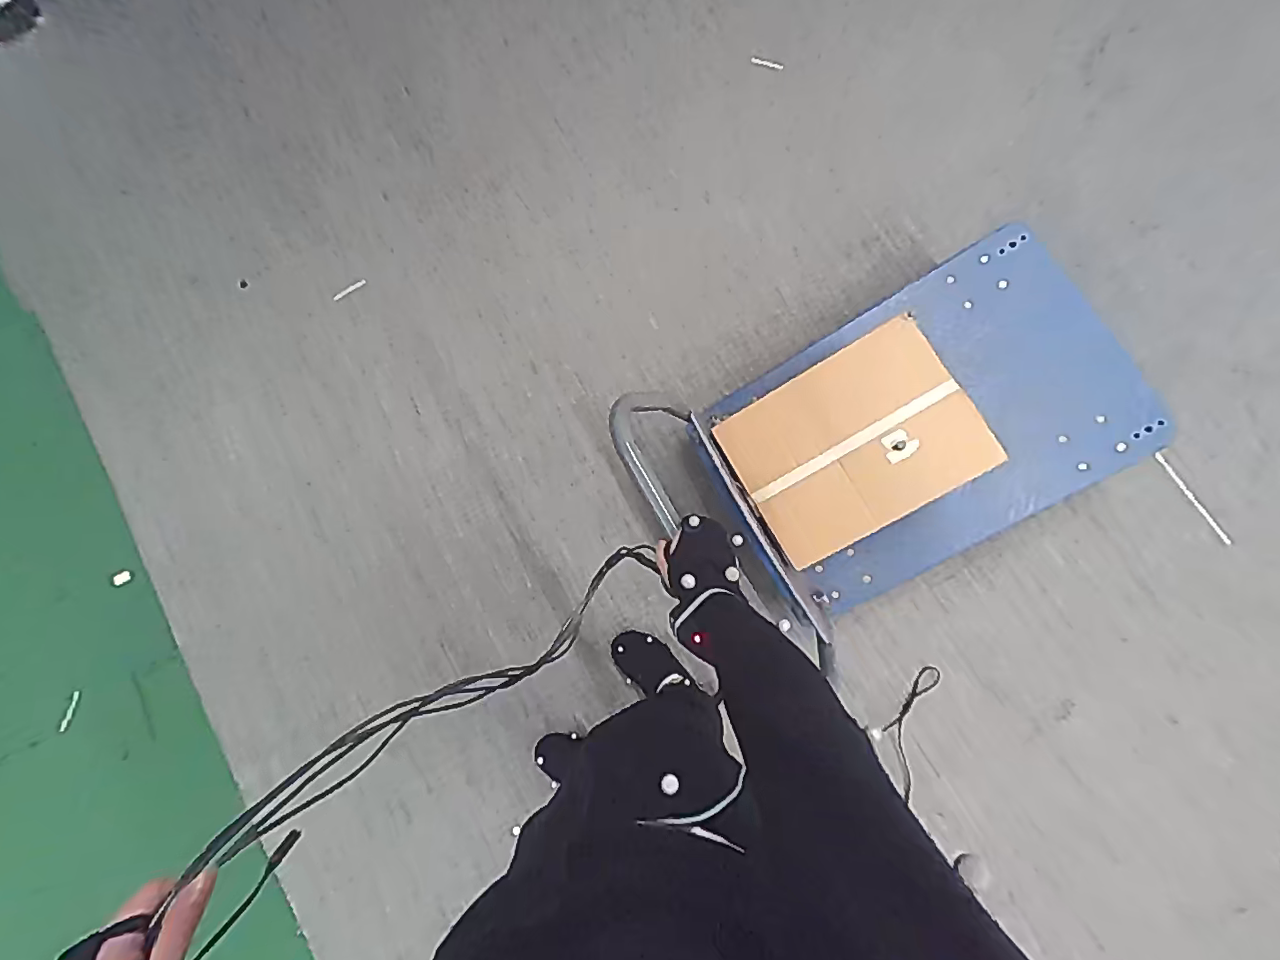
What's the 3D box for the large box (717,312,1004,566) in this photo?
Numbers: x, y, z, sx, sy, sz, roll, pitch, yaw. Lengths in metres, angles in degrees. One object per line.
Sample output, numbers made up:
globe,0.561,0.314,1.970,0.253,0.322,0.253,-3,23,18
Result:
large box,0.418,-0.063,1.121,0.408,0.320,0.320,-31,82,10
